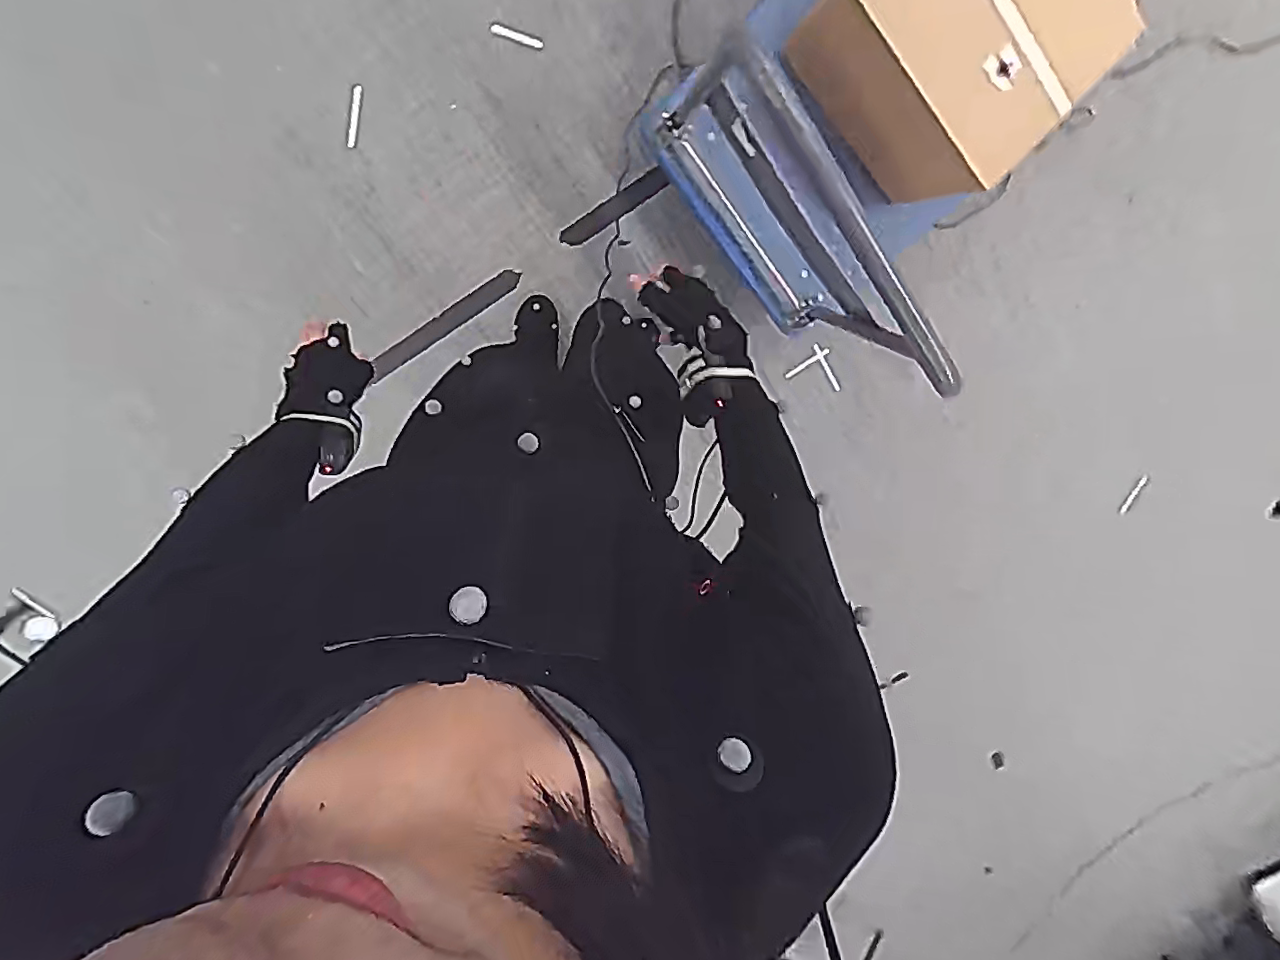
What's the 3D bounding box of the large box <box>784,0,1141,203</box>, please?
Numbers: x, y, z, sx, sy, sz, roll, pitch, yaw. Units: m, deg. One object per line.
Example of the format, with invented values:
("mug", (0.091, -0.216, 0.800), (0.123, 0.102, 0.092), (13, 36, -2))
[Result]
("large box", (0.539, -0.777, 0.967), (0.408, 0.320, 0.320), (39, 105, -20))
